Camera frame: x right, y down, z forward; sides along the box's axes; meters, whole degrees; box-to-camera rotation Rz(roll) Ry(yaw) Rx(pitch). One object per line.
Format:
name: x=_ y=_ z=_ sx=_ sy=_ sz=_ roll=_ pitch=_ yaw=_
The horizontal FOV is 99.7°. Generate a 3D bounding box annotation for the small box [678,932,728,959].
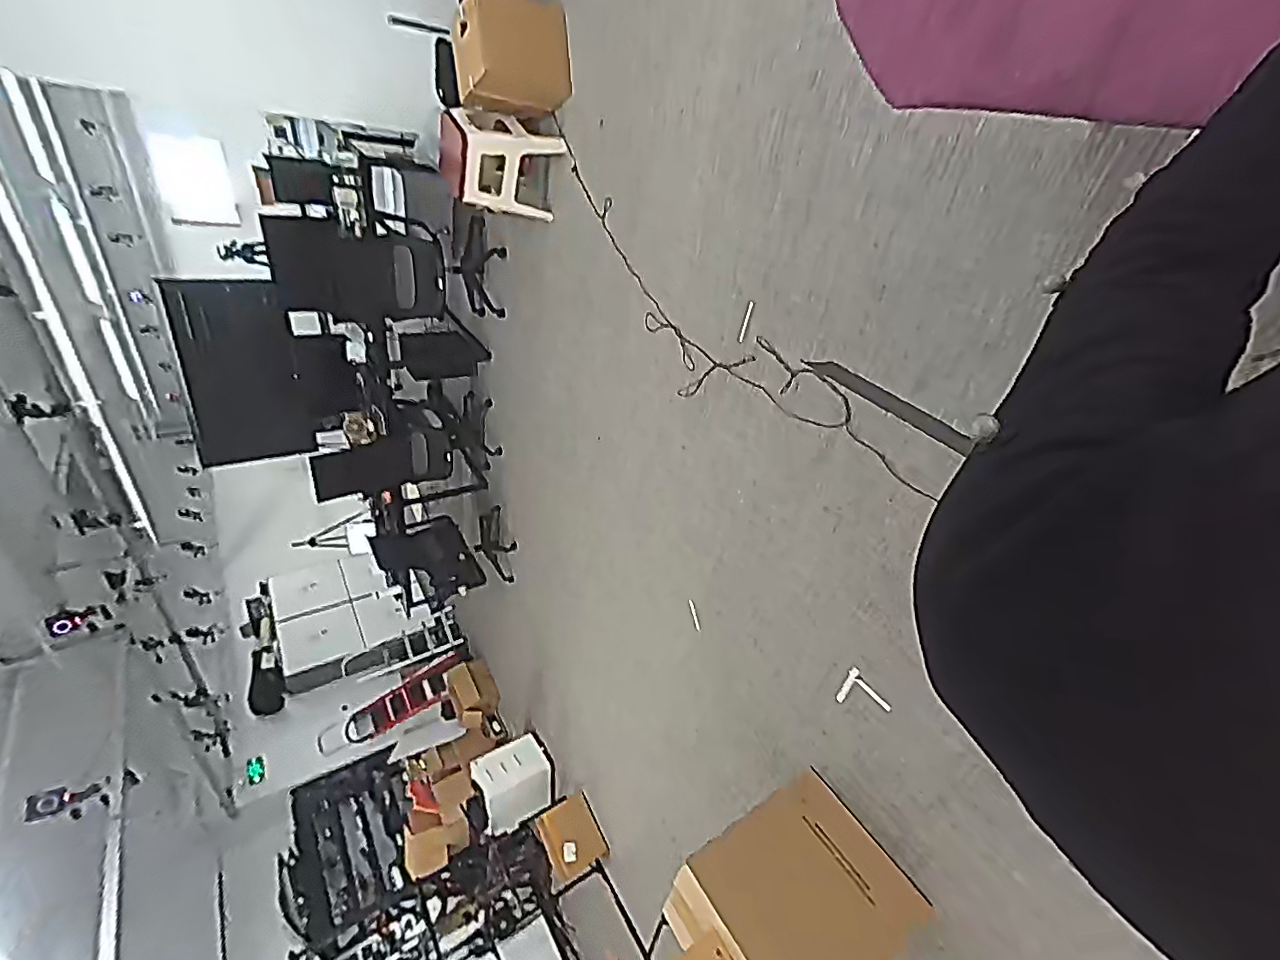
small box: x=0.178 y=1.479 z=1.580 sx=0.168 sy=0.176 sz=0.179 roll=45 pitch=137 yaw=38
